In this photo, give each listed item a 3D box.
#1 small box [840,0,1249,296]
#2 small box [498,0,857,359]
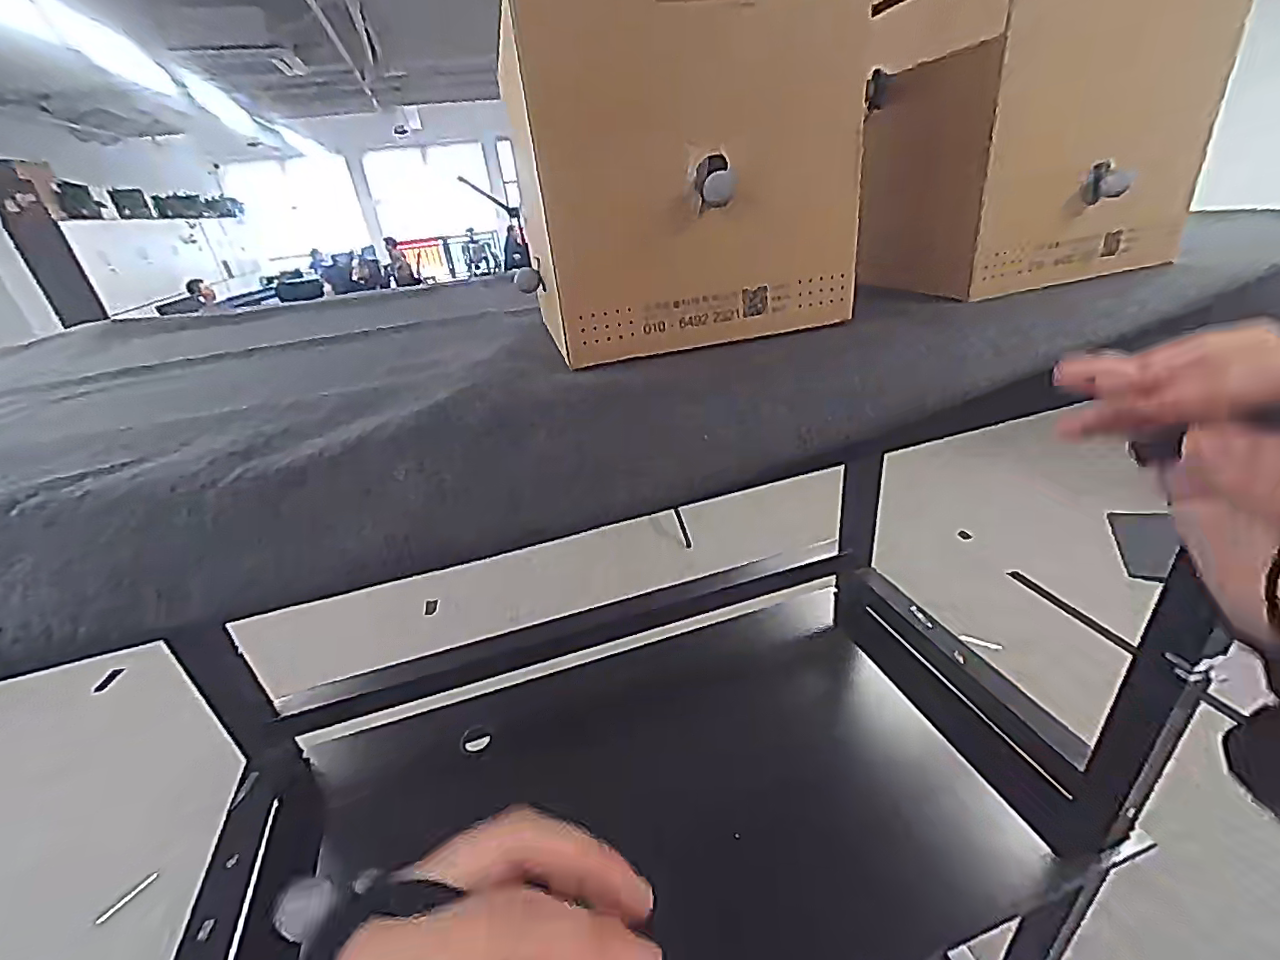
[{"bbox_3d":[0.240,-0.232,0.380,0.168,0.176,0.179,-14,28,-11],"label":"small box"},{"bbox_3d":[0.014,-0.180,0.334,0.168,0.176,0.179,-12,27,-10],"label":"small box"}]
